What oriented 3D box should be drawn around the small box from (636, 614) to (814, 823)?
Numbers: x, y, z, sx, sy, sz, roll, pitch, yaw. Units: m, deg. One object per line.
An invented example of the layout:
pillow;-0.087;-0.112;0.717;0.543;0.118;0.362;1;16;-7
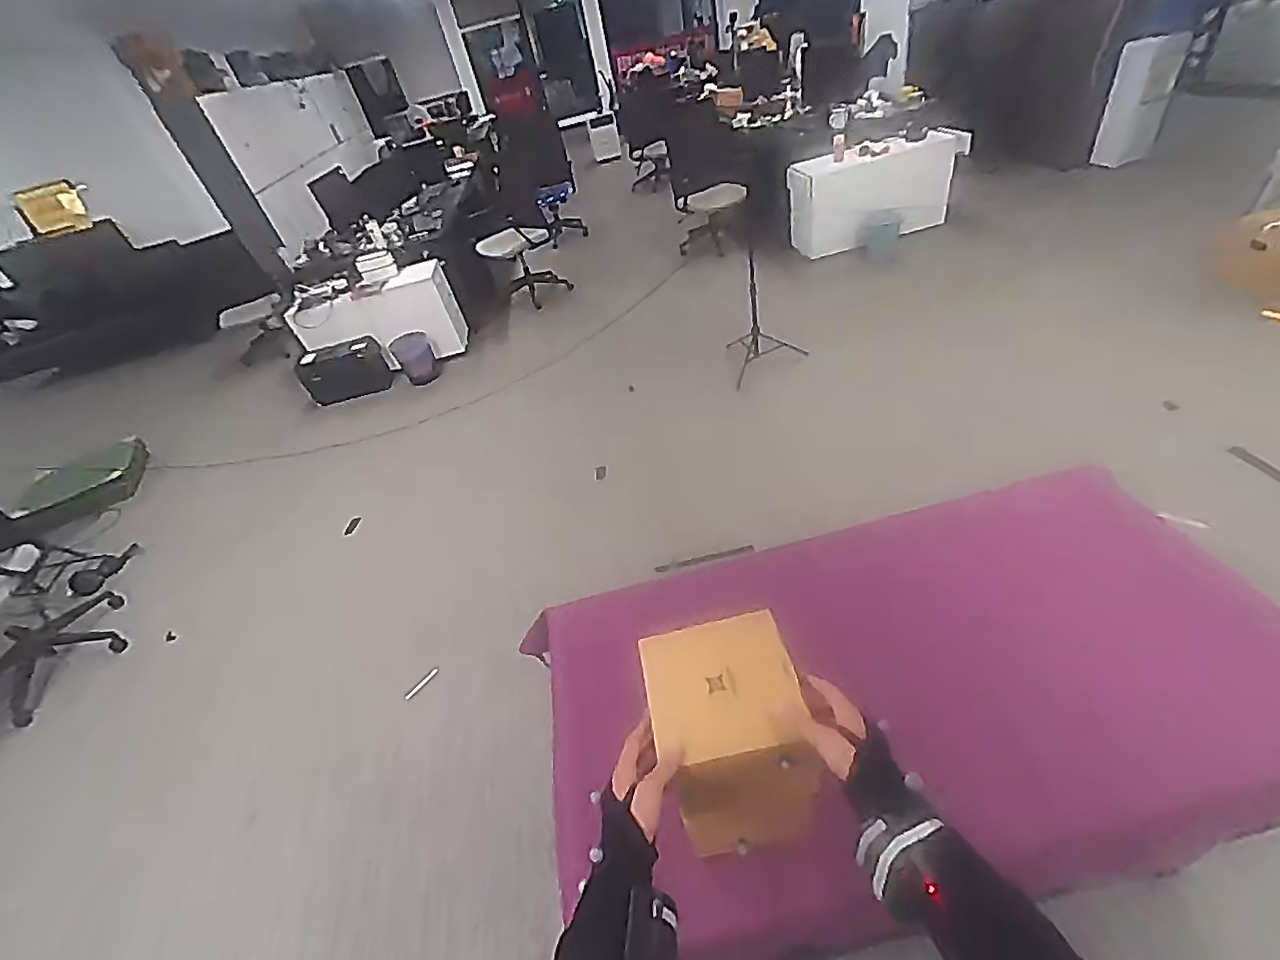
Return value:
small box;0.105;0.299;0.673;0.179;0.176;0.168;-14;41;2
